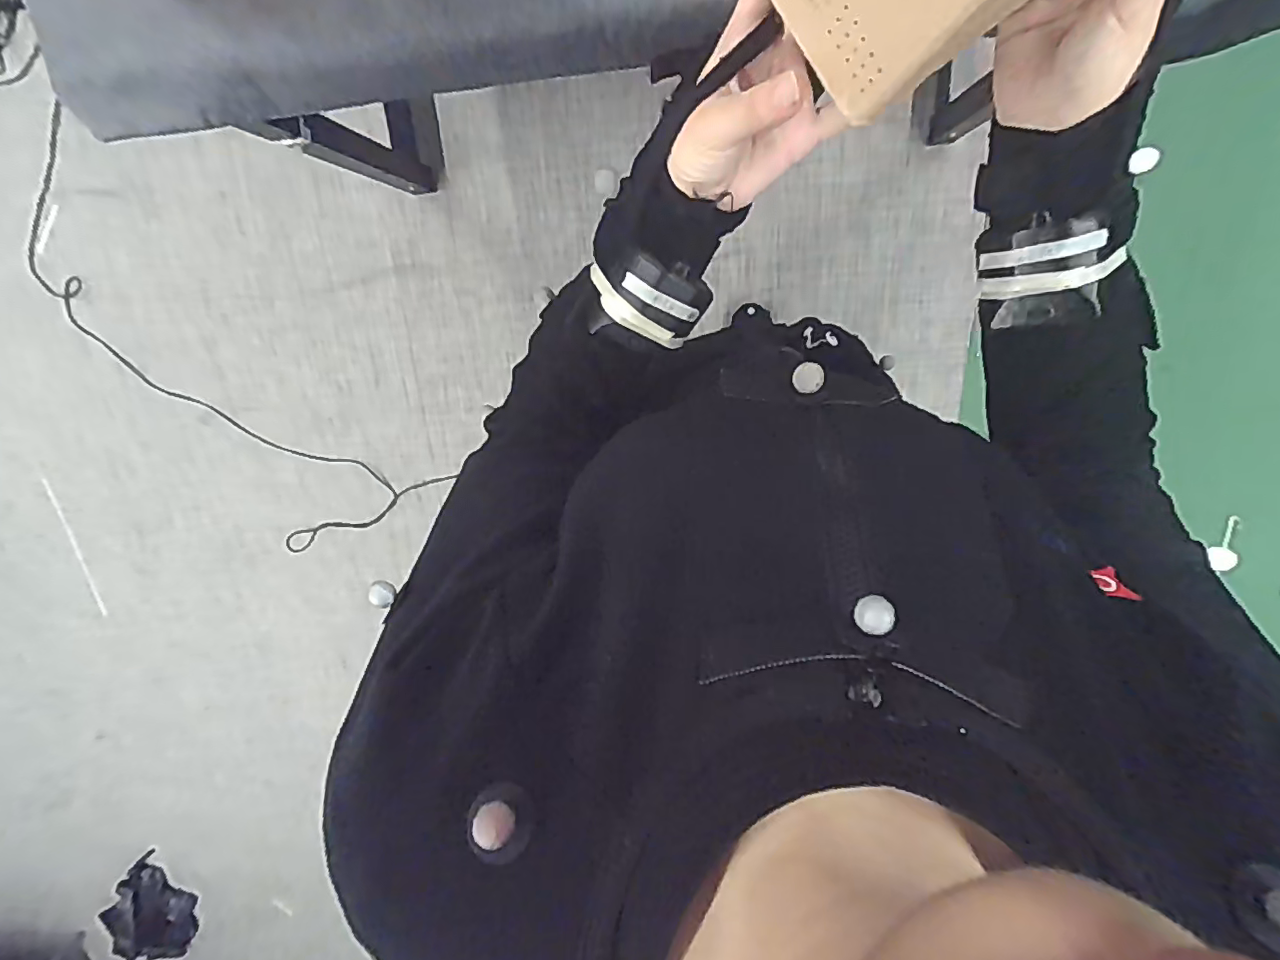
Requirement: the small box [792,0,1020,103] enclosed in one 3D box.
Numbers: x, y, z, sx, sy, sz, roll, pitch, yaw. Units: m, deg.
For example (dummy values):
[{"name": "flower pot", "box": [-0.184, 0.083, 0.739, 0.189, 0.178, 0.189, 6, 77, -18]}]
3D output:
[{"name": "small box", "box": [0.118, -0.256, 0.141, 0.179, 0.176, 0.168, -39, 100, 0]}]
